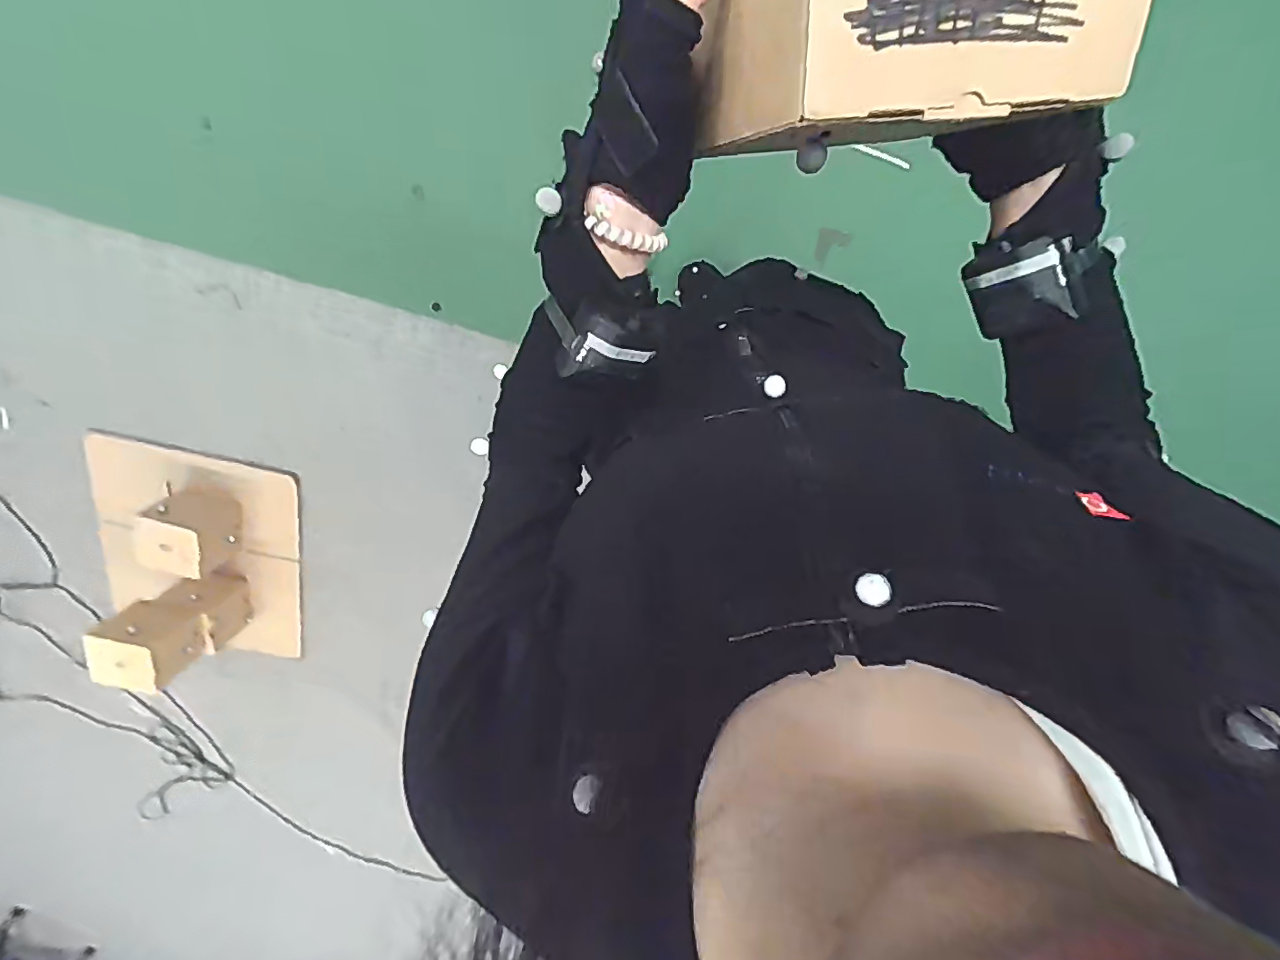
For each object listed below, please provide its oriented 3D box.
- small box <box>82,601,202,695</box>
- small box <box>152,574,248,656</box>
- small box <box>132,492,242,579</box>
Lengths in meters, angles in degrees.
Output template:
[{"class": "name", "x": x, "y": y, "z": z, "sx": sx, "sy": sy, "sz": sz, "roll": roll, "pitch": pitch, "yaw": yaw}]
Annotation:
[{"class": "small box", "x": -1.372, "y": 0.459, "z": 1.500, "sx": 0.179, "sy": 0.176, "sz": 0.168, "roll": 13, "pitch": 112, "yaw": -3}, {"class": "small box", "x": -1.339, "y": 0.407, "z": 1.653, "sx": 0.179, "sy": 0.176, "sz": 0.168, "roll": 11, "pitch": 113, "yaw": -2}, {"class": "small box", "x": -1.291, "y": 0.153, "z": 1.549, "sx": 0.179, "sy": 0.176, "sz": 0.168, "roll": 17, "pitch": 113, "yaw": -5}]
